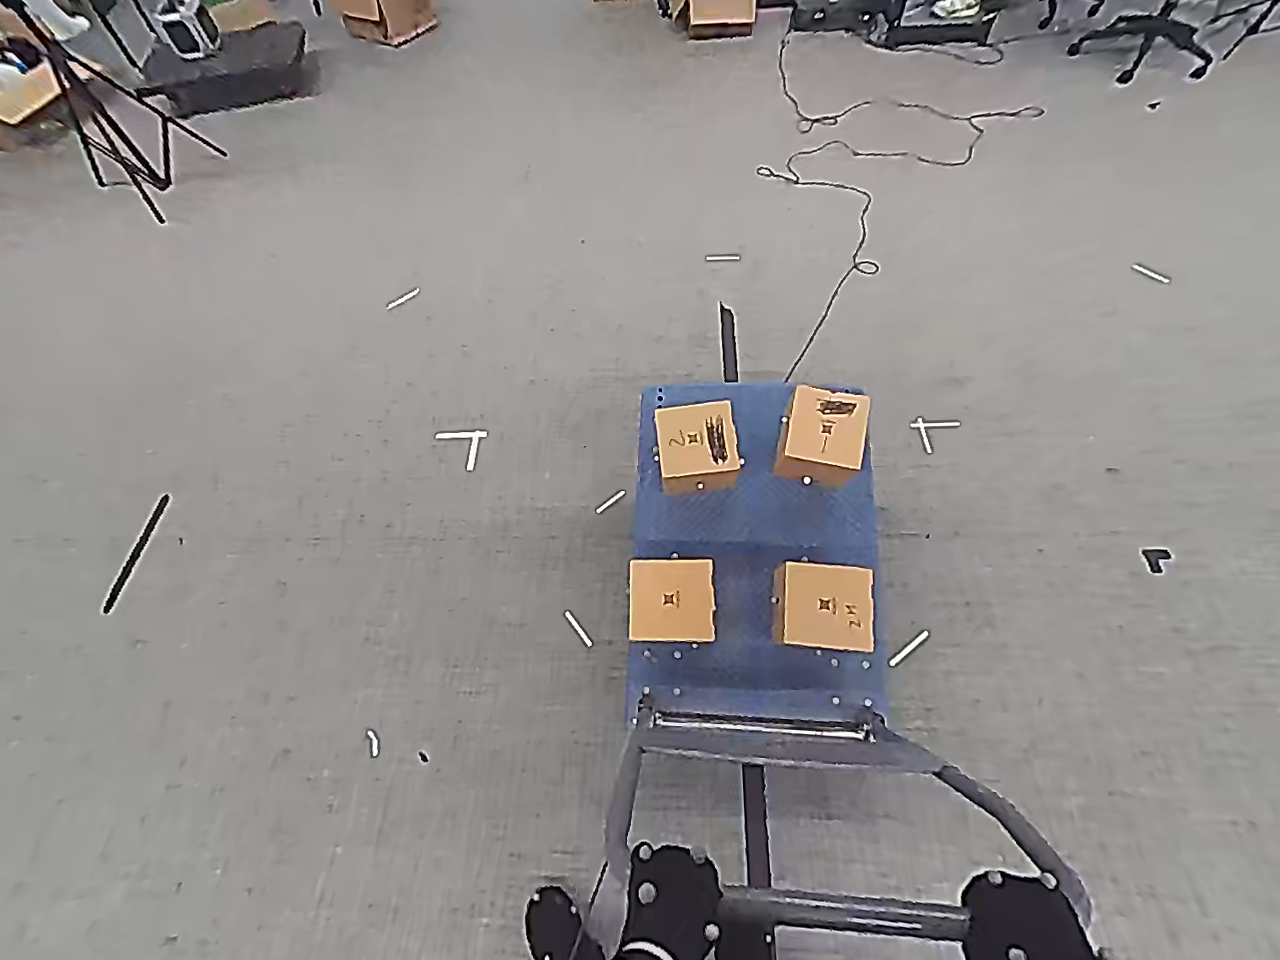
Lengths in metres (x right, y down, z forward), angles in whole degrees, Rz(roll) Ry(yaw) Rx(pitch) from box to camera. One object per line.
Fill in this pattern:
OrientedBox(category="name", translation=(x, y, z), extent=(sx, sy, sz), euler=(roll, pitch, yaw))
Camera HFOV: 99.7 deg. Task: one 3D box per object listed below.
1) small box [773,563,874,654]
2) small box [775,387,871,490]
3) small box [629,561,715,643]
OrientedBox(category="small box", translation=(0.387, 0.279, 1.161), extent=(0.179, 0.176, 0.168), euler=(4, 75, 6))
OrientedBox(category="small box", translation=(0.421, -0.092, 1.264), extent=(0.168, 0.176, 0.179), euler=(12, 76, 8))
OrientedBox(category="small box", translation=(0.071, 0.272, 1.189), extent=(0.179, 0.176, 0.168), euler=(-1, 74, 3))
